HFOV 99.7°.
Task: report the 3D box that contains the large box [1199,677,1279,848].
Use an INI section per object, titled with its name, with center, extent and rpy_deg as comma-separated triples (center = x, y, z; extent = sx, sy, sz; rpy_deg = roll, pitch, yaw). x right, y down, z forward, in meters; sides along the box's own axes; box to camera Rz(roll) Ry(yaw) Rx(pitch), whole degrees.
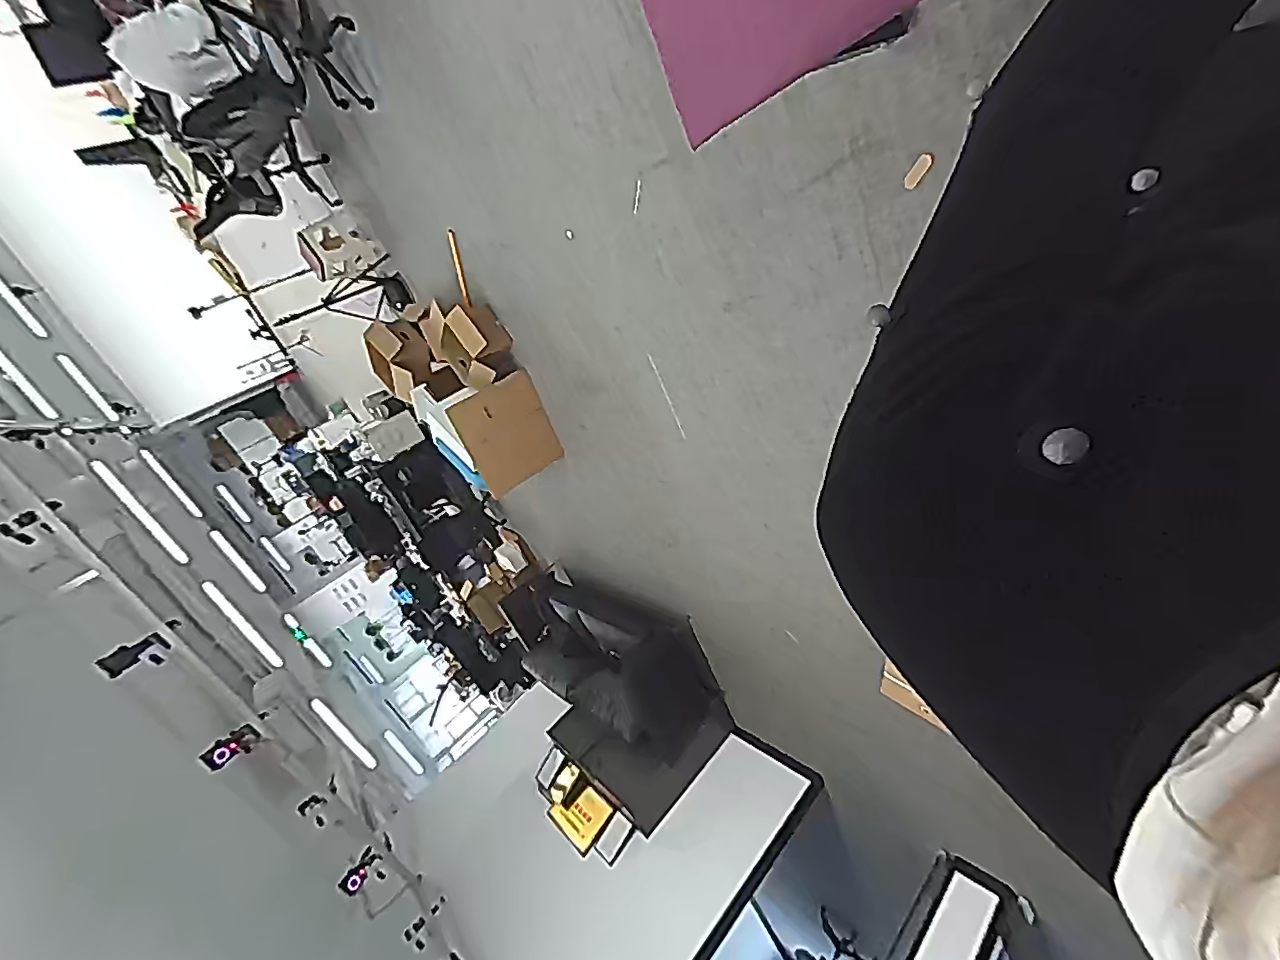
[large box]
center = 1.722, 0.692, 1.304
extent = 0.320, 0.320, 0.408
rpy_deg = 48, 150, 6
